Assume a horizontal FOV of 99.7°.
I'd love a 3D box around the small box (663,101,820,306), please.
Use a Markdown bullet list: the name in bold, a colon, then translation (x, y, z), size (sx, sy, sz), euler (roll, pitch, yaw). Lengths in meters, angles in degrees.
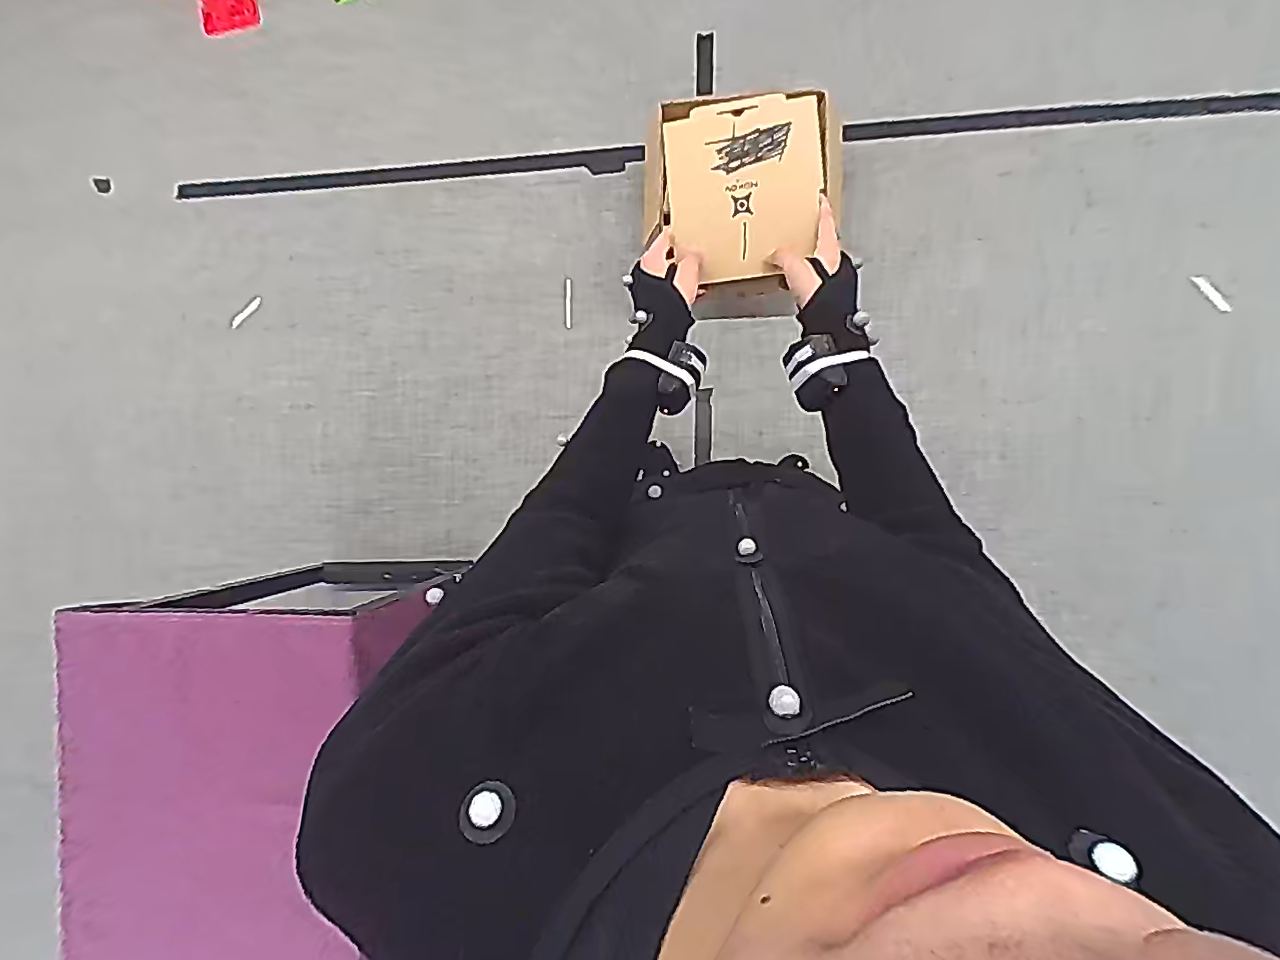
- **small box**: translation (0.125, -0.325, 0.675), size (0.168, 0.176, 0.179), euler (-4, 101, 11)
